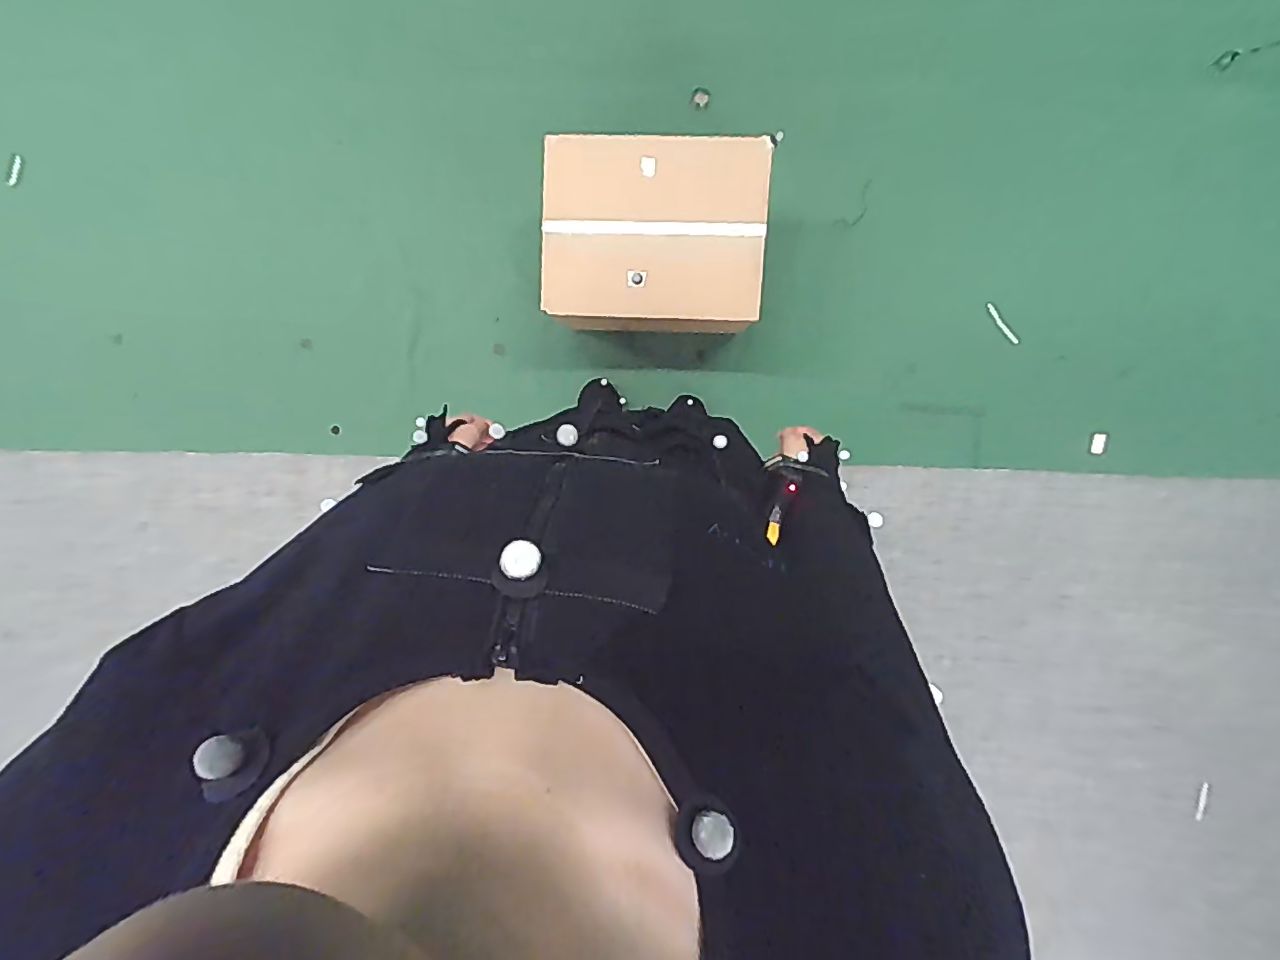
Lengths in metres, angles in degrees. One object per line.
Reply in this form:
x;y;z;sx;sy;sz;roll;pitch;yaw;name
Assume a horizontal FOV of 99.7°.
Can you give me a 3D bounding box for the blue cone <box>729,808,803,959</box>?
0.334;1.021;1.334;0.192;0.380;0.193;2;100;3;blue cone
